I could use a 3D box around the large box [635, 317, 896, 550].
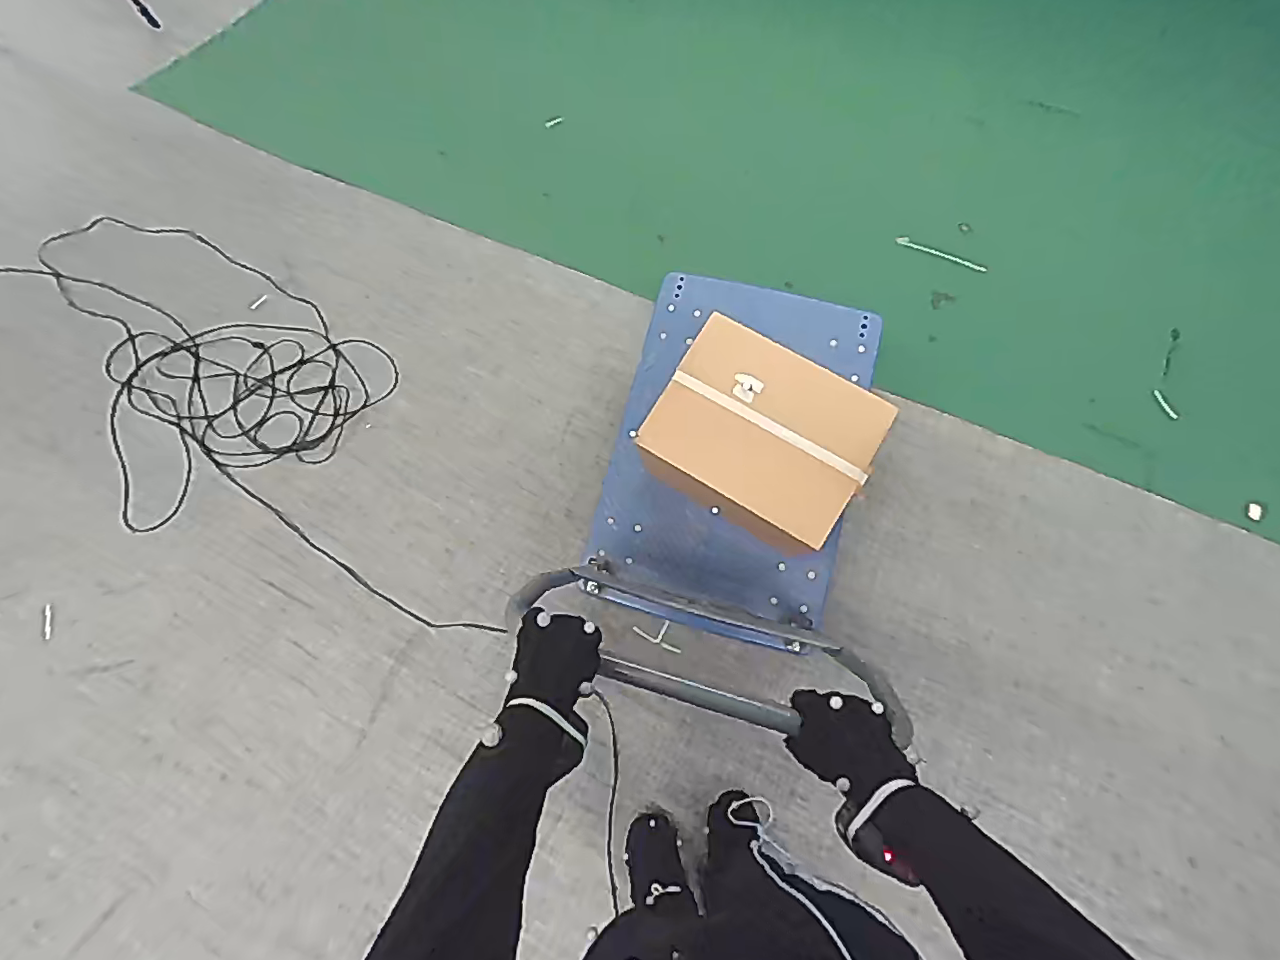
[{"bbox_3d":[0.252,-0.078,1.170,0.408,0.320,0.320,30,84,10],"label":"large box"}]
